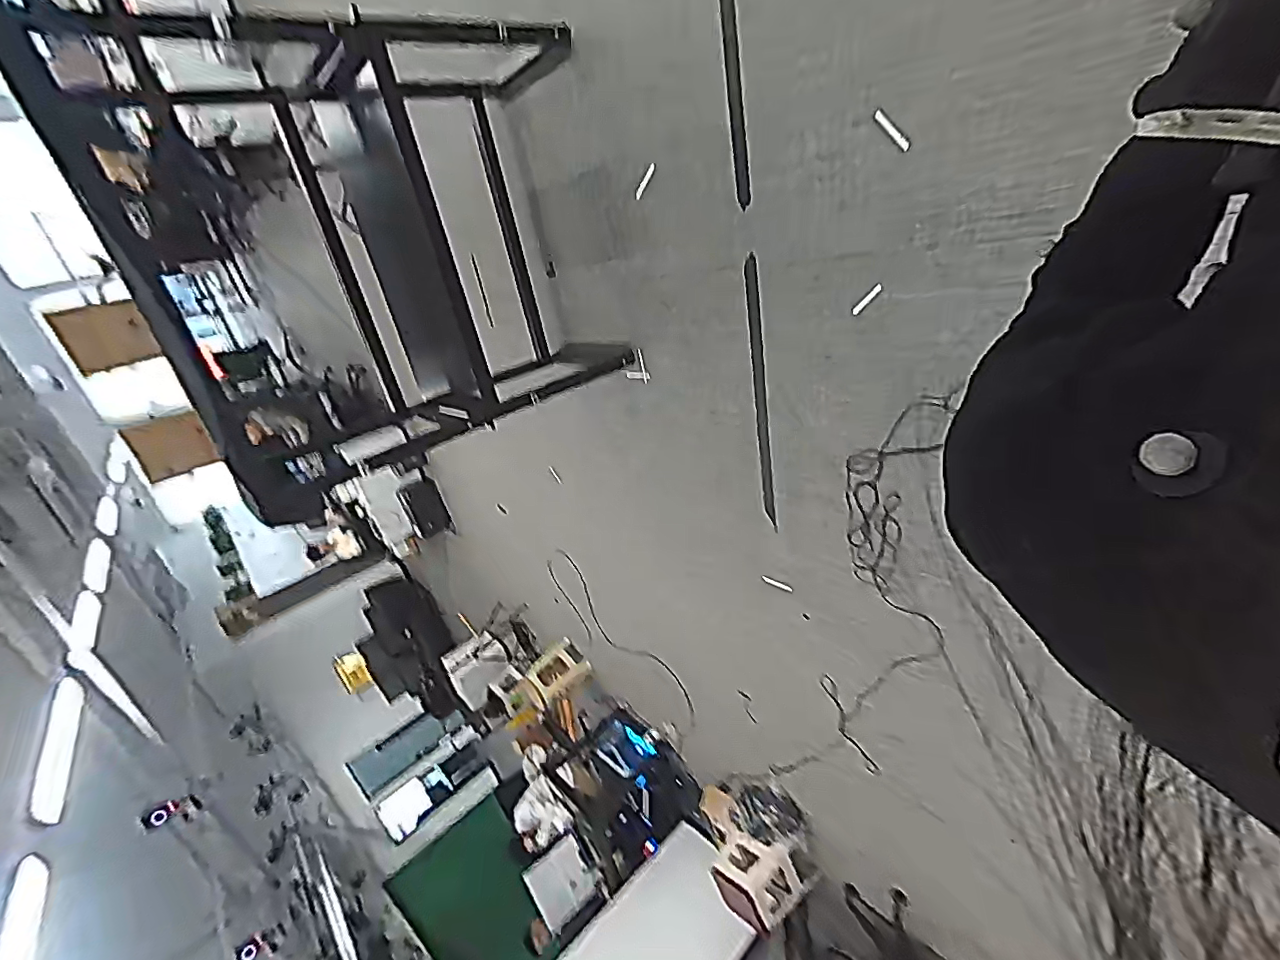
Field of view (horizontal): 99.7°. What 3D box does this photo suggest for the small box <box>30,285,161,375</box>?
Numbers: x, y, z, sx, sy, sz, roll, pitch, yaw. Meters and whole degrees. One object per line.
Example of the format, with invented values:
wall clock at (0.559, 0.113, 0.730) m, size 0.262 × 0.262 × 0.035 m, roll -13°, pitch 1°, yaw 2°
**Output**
small box at (-1.308, -0.370, 1.313) m, size 0.179 × 0.176 × 0.168 m, roll 21°, pitch 132°, yaw 45°
